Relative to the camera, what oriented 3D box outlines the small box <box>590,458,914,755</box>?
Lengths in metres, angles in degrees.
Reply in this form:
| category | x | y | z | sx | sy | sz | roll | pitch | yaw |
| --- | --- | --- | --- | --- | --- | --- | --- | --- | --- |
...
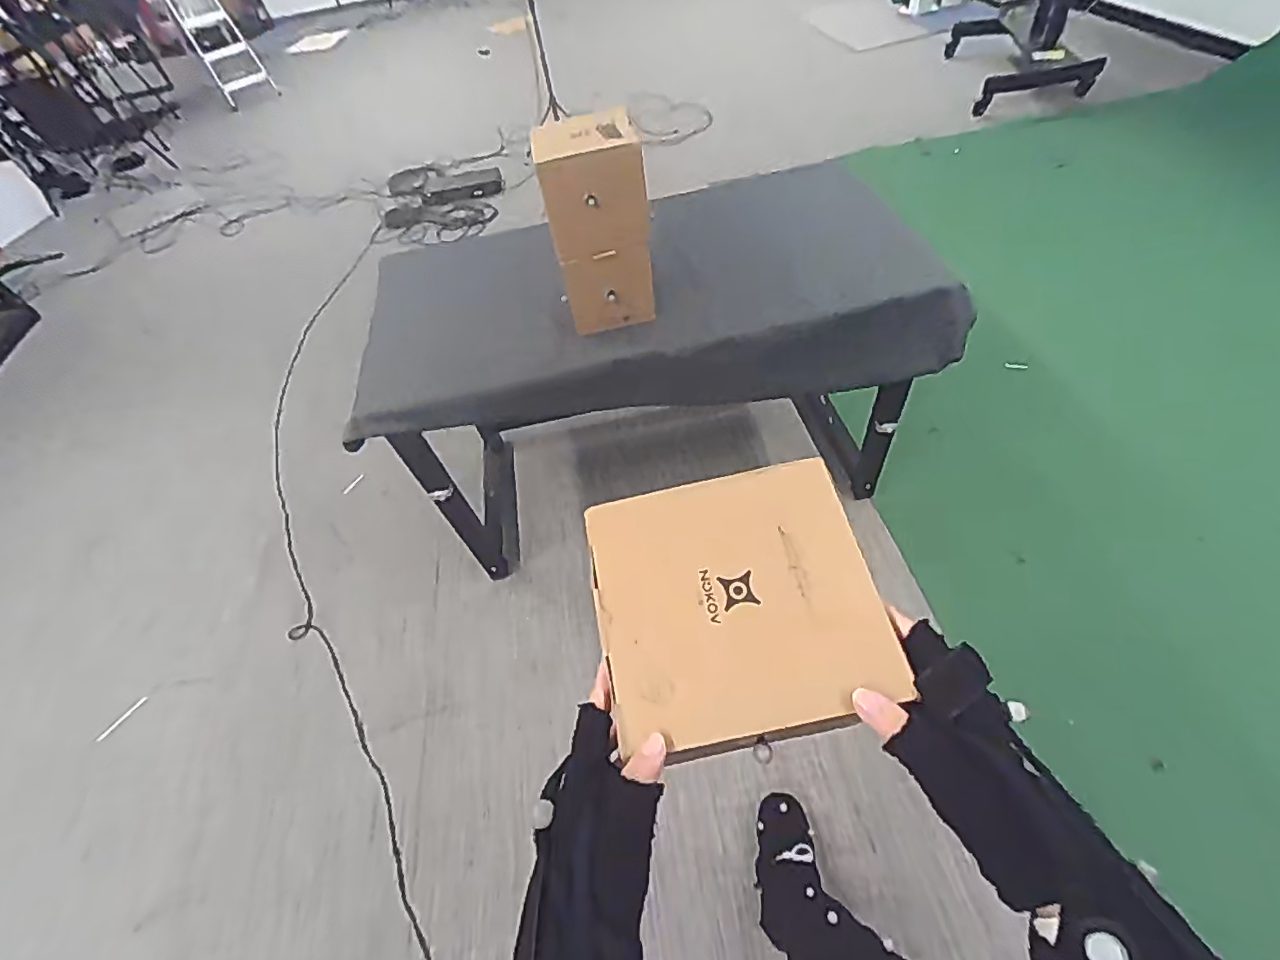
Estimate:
| category | x | y | z | sx | sy | sz | roll | pitch | yaw |
| --- | --- | --- | --- | --- | --- | --- | --- | --- | --- |
| small box | 0.071 | 0.109 | 0.423 | 0.179 | 0.176 | 0.168 | -13 | 62 | -1 |

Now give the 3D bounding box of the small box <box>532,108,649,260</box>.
| category | x | y | z | sx | sy | sz | roll | pitch | yaw |
| --- | --- | --- | --- | --- | --- | --- | --- | --- | --- |
| small box | -0.083 | -0.521 | 0.960 | 0.179 | 0.176 | 0.168 | -13 | 52 | 0 |

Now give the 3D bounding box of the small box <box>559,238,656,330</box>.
| category | x | y | z | sx | sy | sz | roll | pitch | yaw |
| --- | --- | --- | --- | --- | --- | --- | --- | --- | --- |
| small box | -0.069 | -0.423 | 1.092 | 0.168 | 0.176 | 0.179 | -13 | 52 | -1 |
